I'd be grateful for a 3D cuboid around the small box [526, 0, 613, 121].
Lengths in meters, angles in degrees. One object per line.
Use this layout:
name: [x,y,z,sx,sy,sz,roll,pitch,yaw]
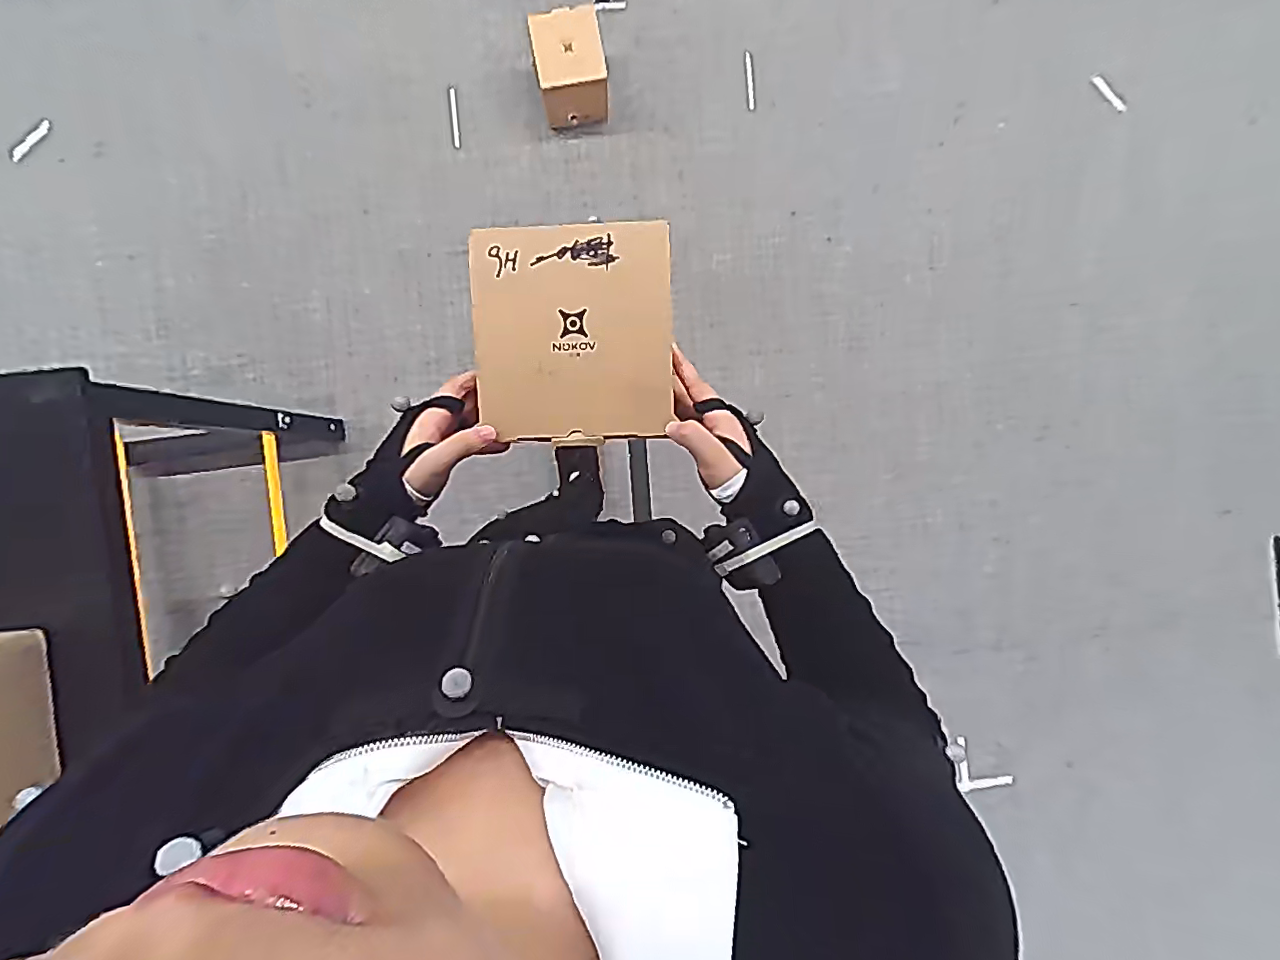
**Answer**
small box: [-0.162,-1.001,1.283,0.168,0.176,0.179,-12,94,-2]
